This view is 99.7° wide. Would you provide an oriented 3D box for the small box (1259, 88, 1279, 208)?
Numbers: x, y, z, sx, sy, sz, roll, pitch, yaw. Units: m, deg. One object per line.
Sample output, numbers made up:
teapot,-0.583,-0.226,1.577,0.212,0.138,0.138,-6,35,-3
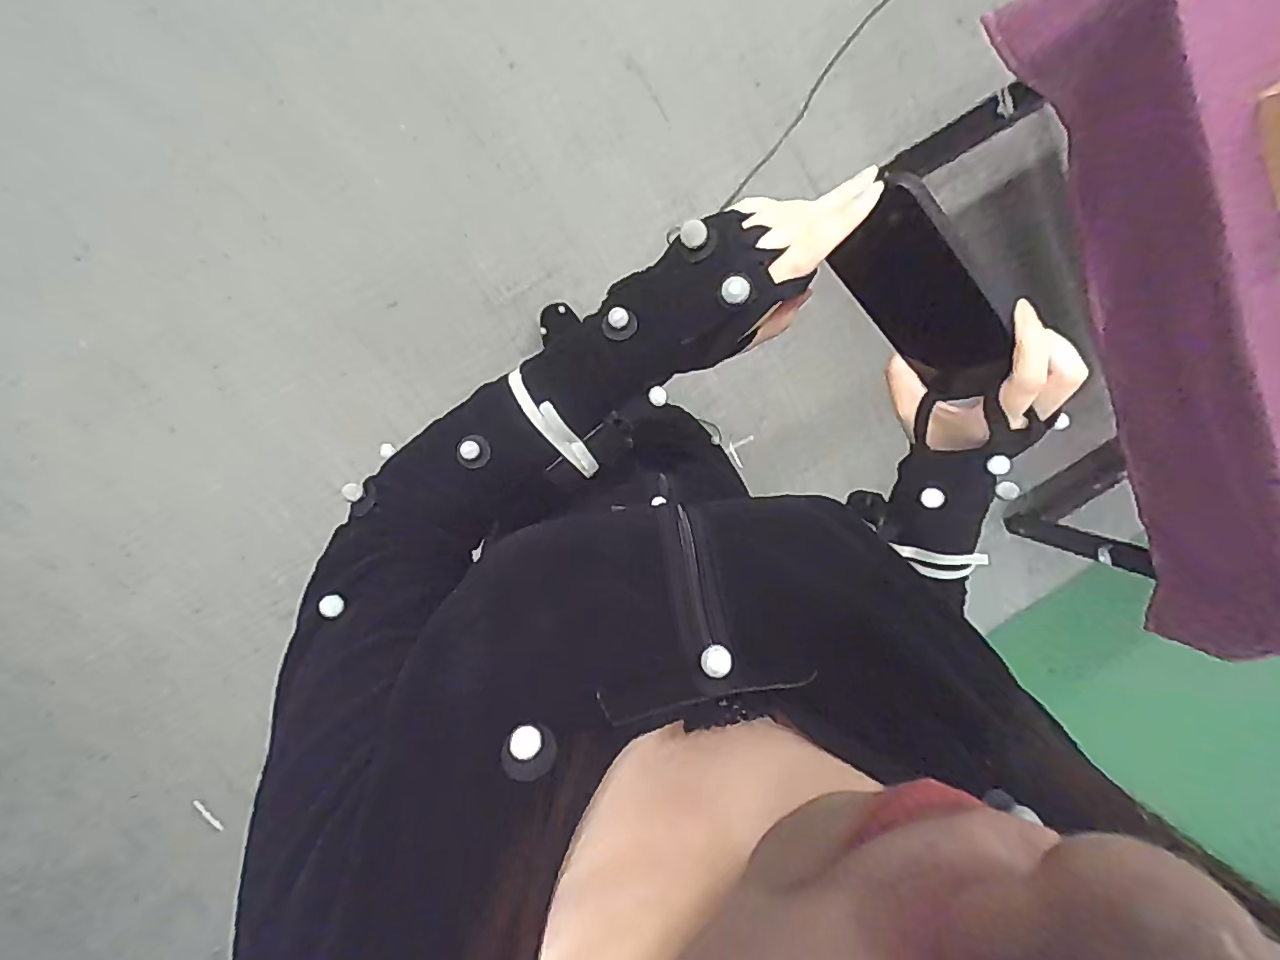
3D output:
small box,1.022,-0.507,0.744,0.168,0.176,0.179,-29,105,-4
